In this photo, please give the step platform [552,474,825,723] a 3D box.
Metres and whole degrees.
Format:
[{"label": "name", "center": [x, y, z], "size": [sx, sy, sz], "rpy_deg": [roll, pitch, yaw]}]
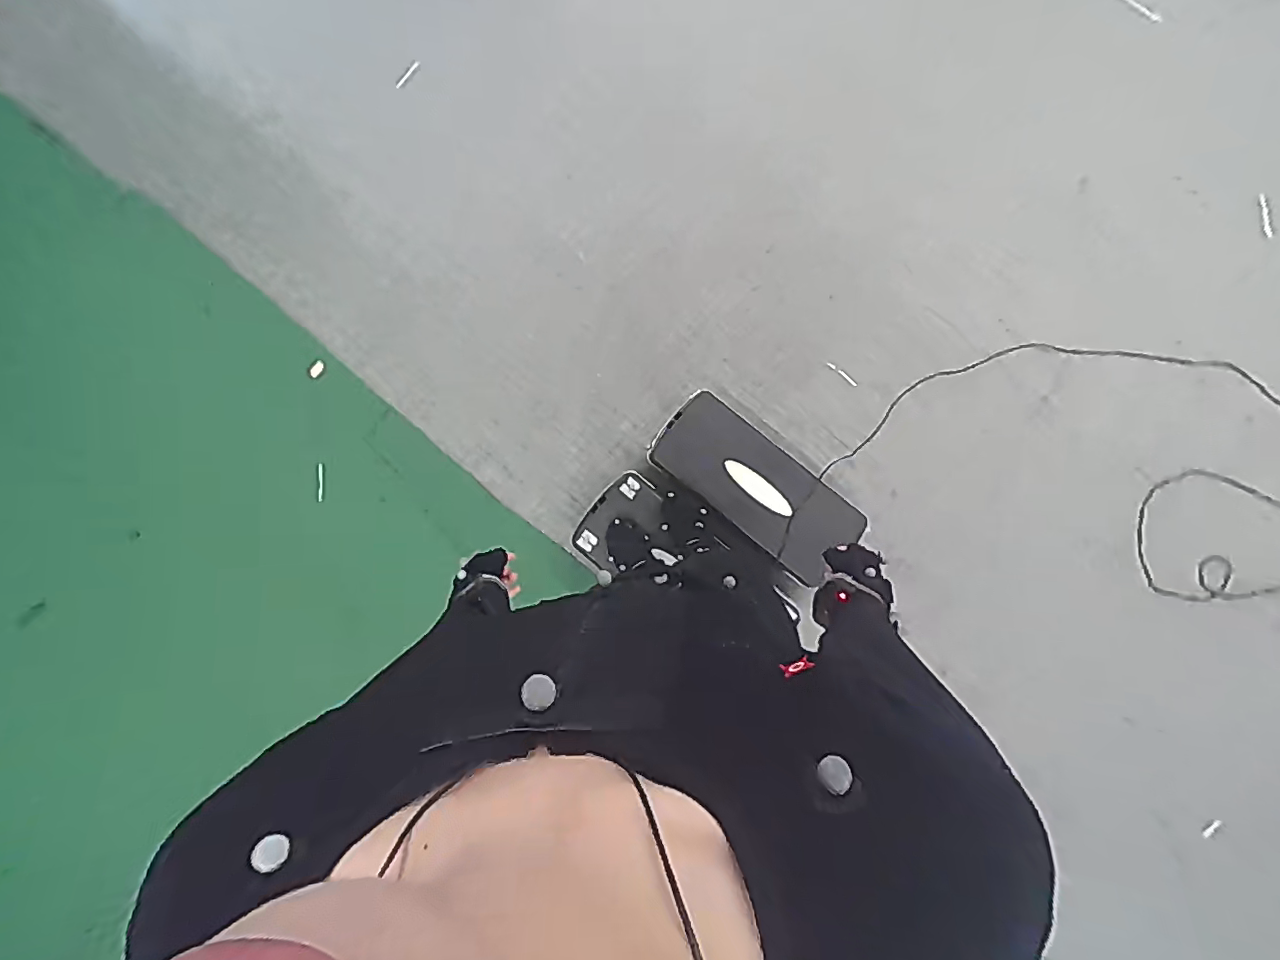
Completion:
[{"label": "step platform", "center": [0.114, 0.287, 1.388], "size": [0.684, 0.204, 0.286], "rpy_deg": [39, 89, 2]}]
